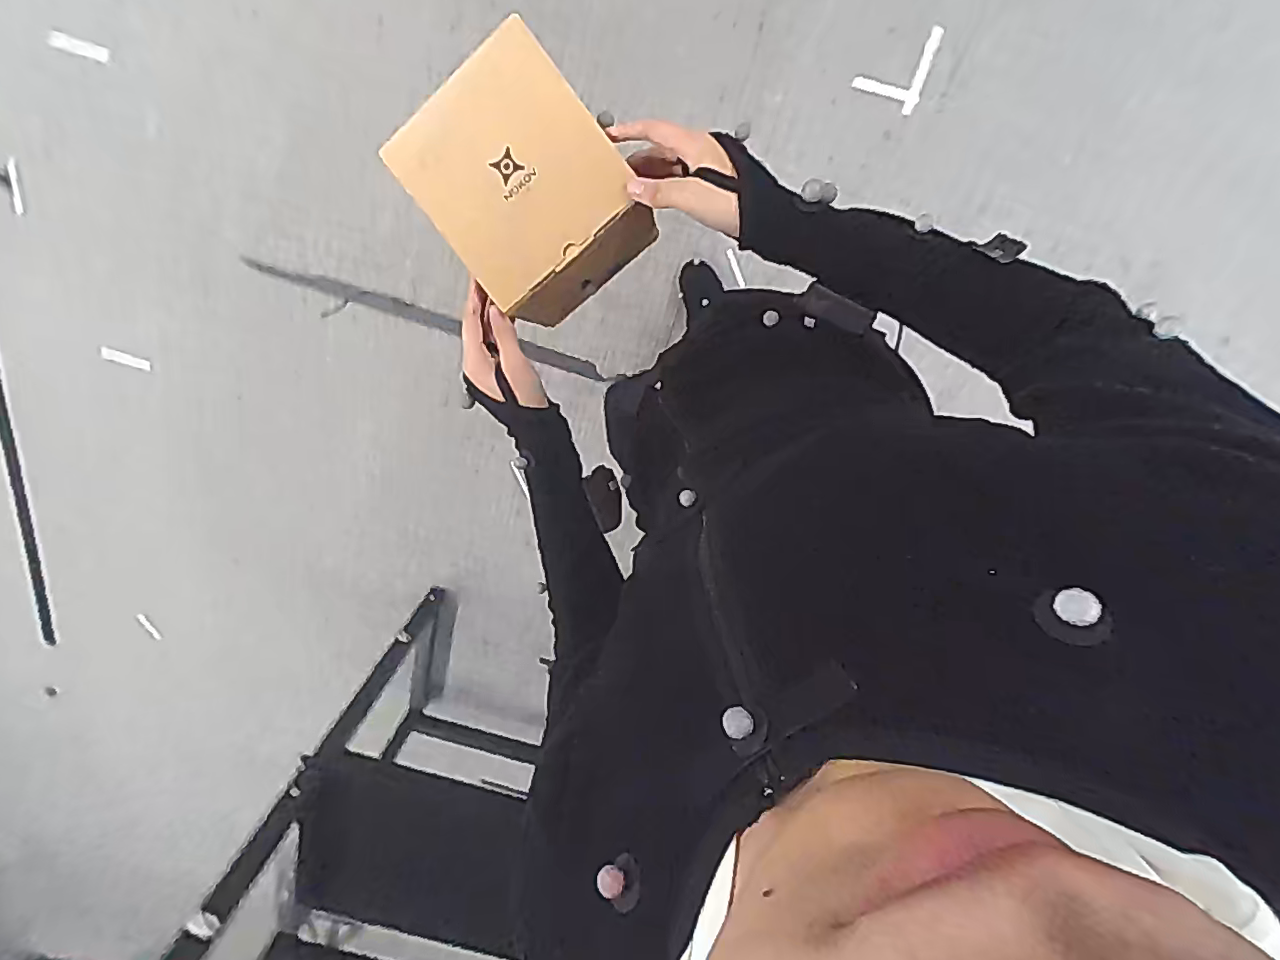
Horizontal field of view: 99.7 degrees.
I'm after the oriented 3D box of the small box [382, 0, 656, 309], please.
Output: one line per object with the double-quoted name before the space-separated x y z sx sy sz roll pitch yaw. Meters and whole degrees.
"small box" -0.099 -0.290 0.529 0.168 0.176 0.179 -37 98 11
